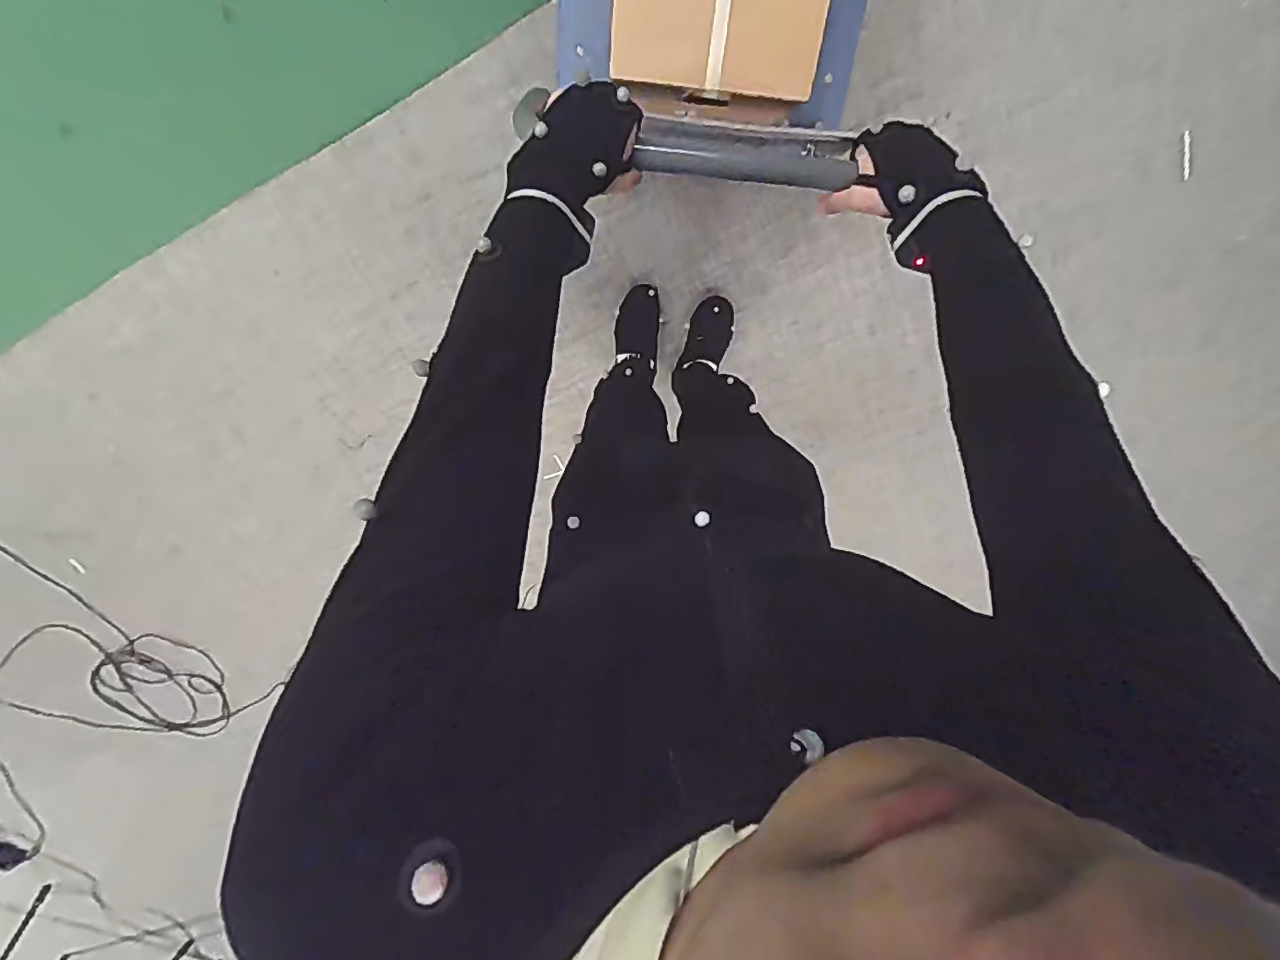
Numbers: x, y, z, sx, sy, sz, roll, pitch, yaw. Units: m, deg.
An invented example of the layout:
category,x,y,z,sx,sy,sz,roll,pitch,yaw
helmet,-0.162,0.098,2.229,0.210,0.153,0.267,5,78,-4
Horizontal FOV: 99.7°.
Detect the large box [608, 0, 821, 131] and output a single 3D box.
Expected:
category,x,y,z,sx,sy,sz,roll,pitch,yaw
large box,0.125,-0.845,0.897,0.320,0.320,0.408,6,116,-2
